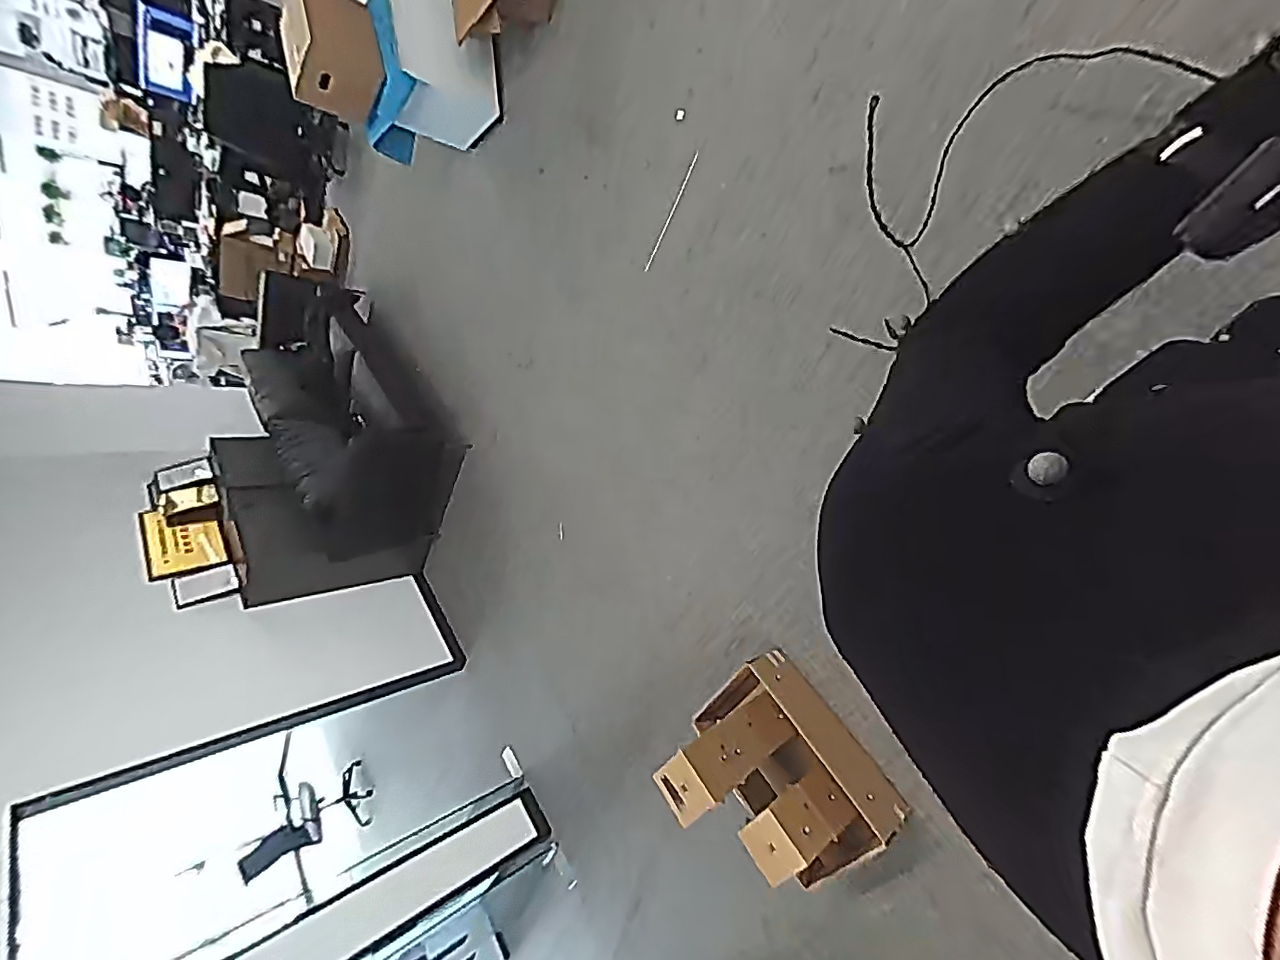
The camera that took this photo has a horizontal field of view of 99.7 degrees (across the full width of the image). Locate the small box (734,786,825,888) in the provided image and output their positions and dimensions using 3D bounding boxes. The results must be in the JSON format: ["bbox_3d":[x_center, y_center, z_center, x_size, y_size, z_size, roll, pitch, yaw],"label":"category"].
[{"bbox_3d":[0.420,1.054,1.608,0.168,0.176,0.179,50,126,30],"label":"small box"}]

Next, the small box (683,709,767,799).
[{"bbox_3d":[0.276,0.874,1.736,0.168,0.176,0.179,49,125,28],"label":"small box"}]

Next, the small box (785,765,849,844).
[{"bbox_3d":[0.536,1.048,1.719,0.168,0.176,0.179,51,126,30],"label":"small box"}]
